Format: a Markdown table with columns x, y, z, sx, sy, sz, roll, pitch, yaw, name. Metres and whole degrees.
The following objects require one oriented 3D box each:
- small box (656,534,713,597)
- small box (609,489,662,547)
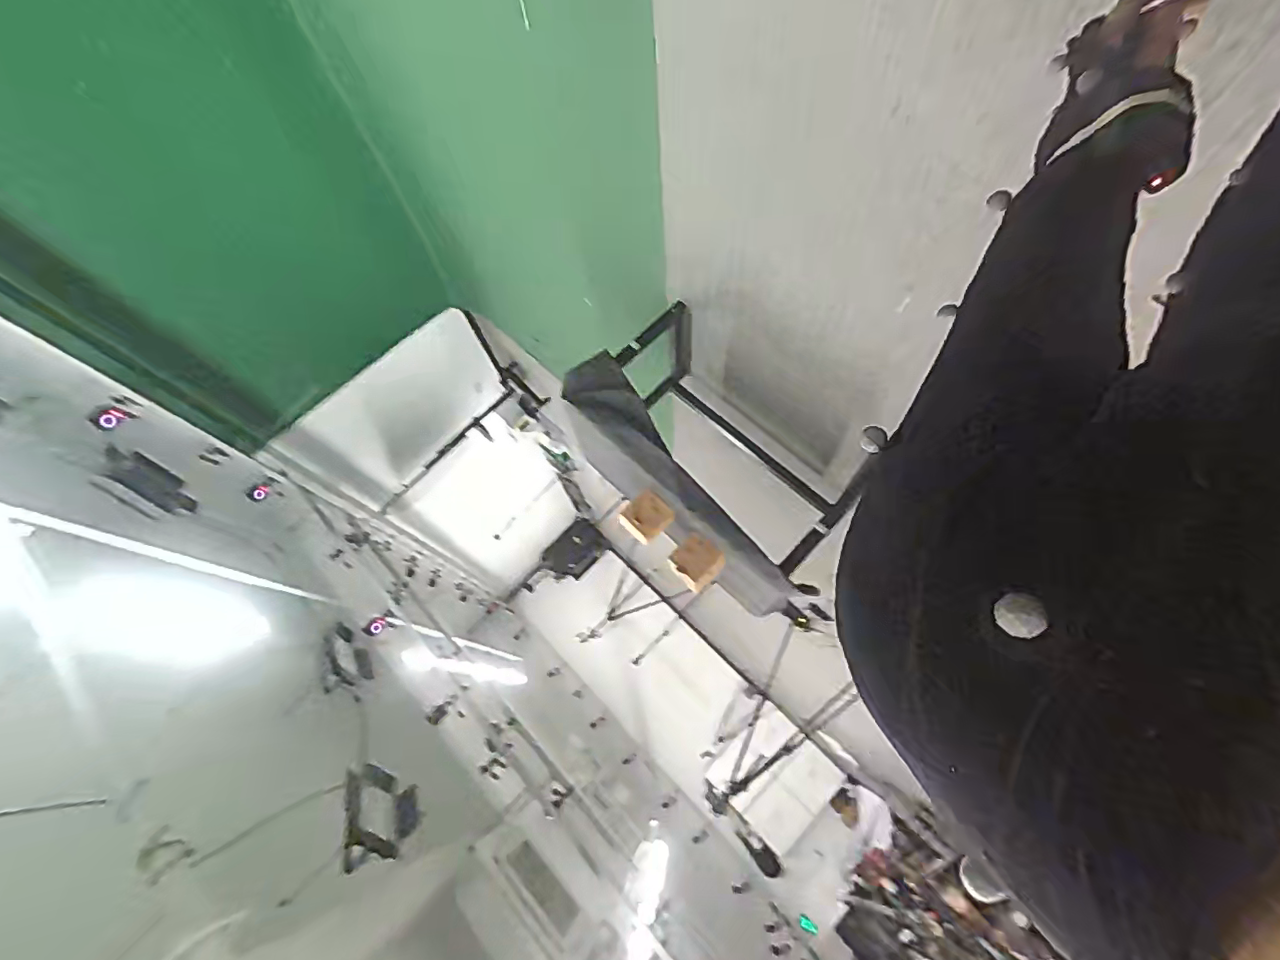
| x | y | z | sx | sy | sz | roll | pitch | yaw | name |
| --- | --- | --- | --- | --- | --- | --- | --- | --- | --- |
| 0.190 | 0.350 | 2.246 | 0.168 | 0.176 | 0.179 | 42 | 167 | 26 | small box |
| -0.019 | 0.166 | 2.357 | 0.168 | 0.176 | 0.179 | 44 | 166 | 12 | small box |
